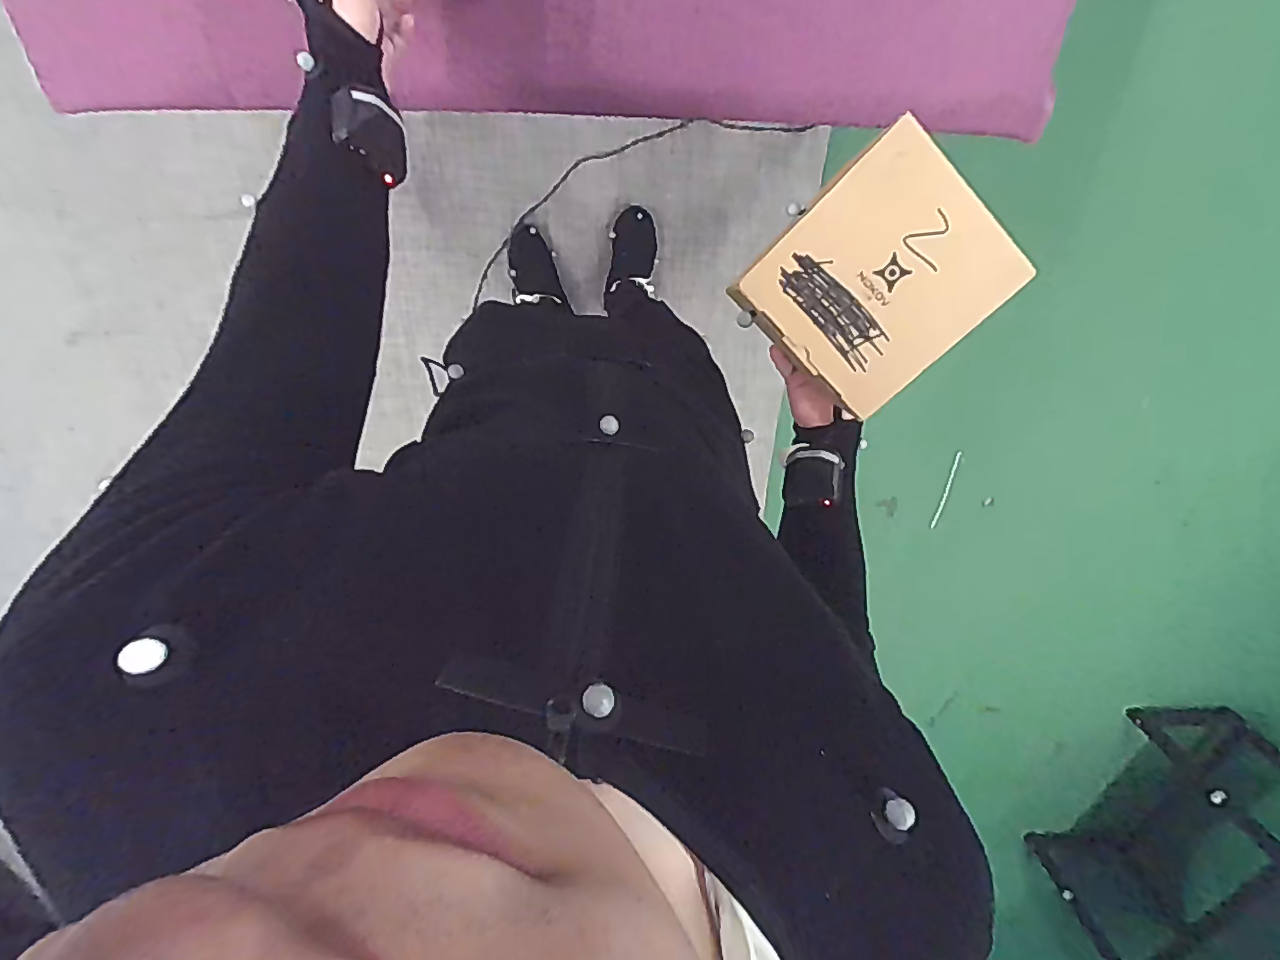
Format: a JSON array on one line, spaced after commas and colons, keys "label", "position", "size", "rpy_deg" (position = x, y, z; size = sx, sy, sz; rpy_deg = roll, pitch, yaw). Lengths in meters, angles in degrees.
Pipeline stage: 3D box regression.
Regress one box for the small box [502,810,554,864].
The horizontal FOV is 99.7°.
[{"label": "small box", "position": [-0.391, 1.302, 1.912], "size": [0.168, 0.176, 0.179], "rpy_deg": [0, 118, -8]}]
